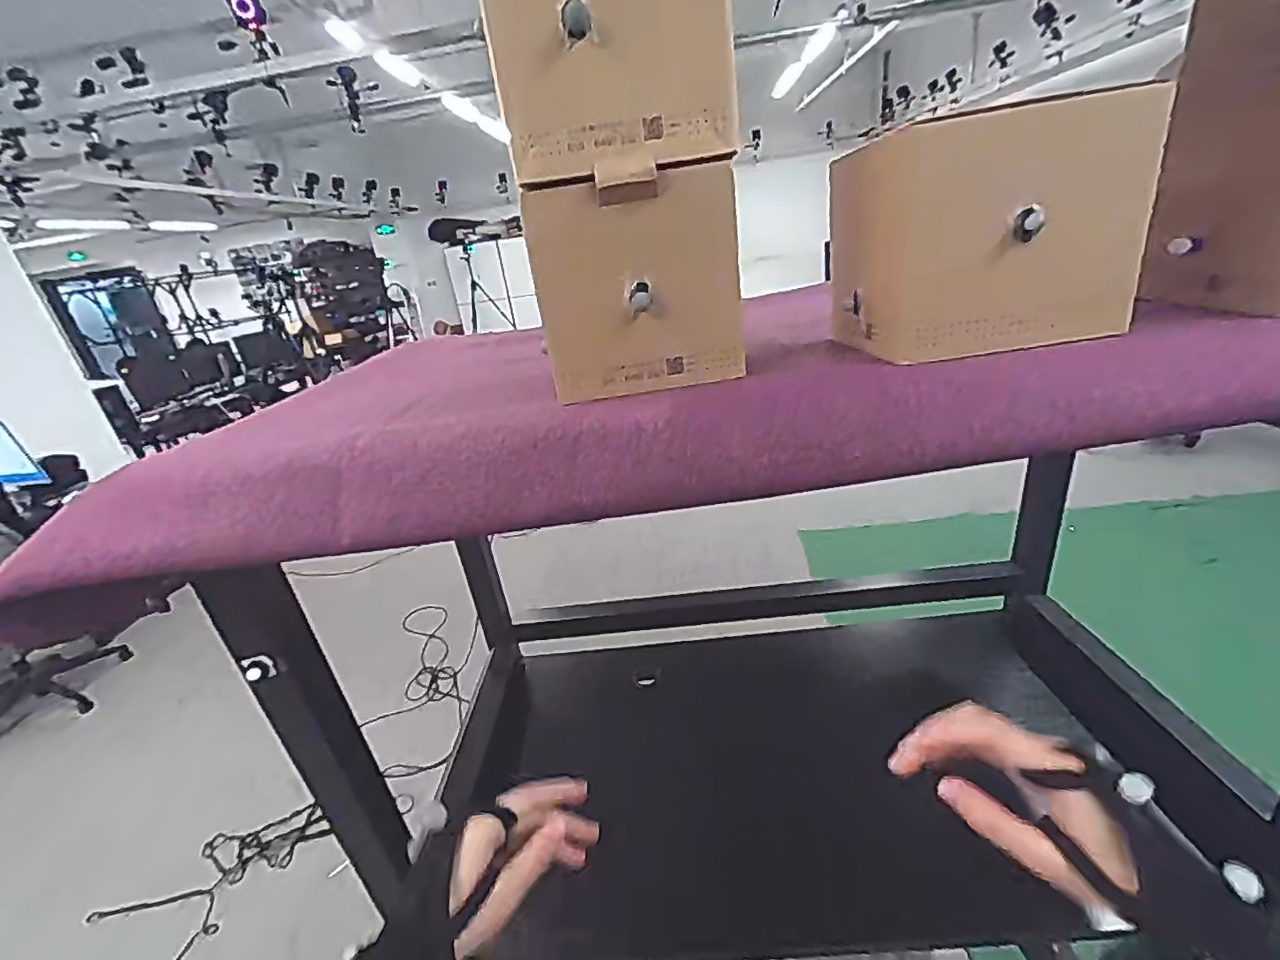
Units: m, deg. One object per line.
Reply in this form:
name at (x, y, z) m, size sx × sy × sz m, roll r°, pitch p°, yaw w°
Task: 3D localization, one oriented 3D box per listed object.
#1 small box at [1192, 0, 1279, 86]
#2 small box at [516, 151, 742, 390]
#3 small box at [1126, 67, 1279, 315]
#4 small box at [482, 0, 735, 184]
small box at (0.529, -0.380, 0.348) m, size 0.179 × 0.176 × 0.168 m, roll -7°, pitch 23°, yaw 5°
small box at (-0.004, -0.187, 0.506) m, size 0.168 × 0.176 × 0.179 m, roll -8°, pitch 23°, yaw 1°
small box at (0.552, -0.240, 0.434) m, size 0.179 × 0.176 × 0.168 m, roll -8°, pitch 24°, yaw 6°
small box at (-0.025, -0.334, 0.439) m, size 0.168 × 0.176 × 0.179 m, roll -9°, pitch 21°, yaw -1°
